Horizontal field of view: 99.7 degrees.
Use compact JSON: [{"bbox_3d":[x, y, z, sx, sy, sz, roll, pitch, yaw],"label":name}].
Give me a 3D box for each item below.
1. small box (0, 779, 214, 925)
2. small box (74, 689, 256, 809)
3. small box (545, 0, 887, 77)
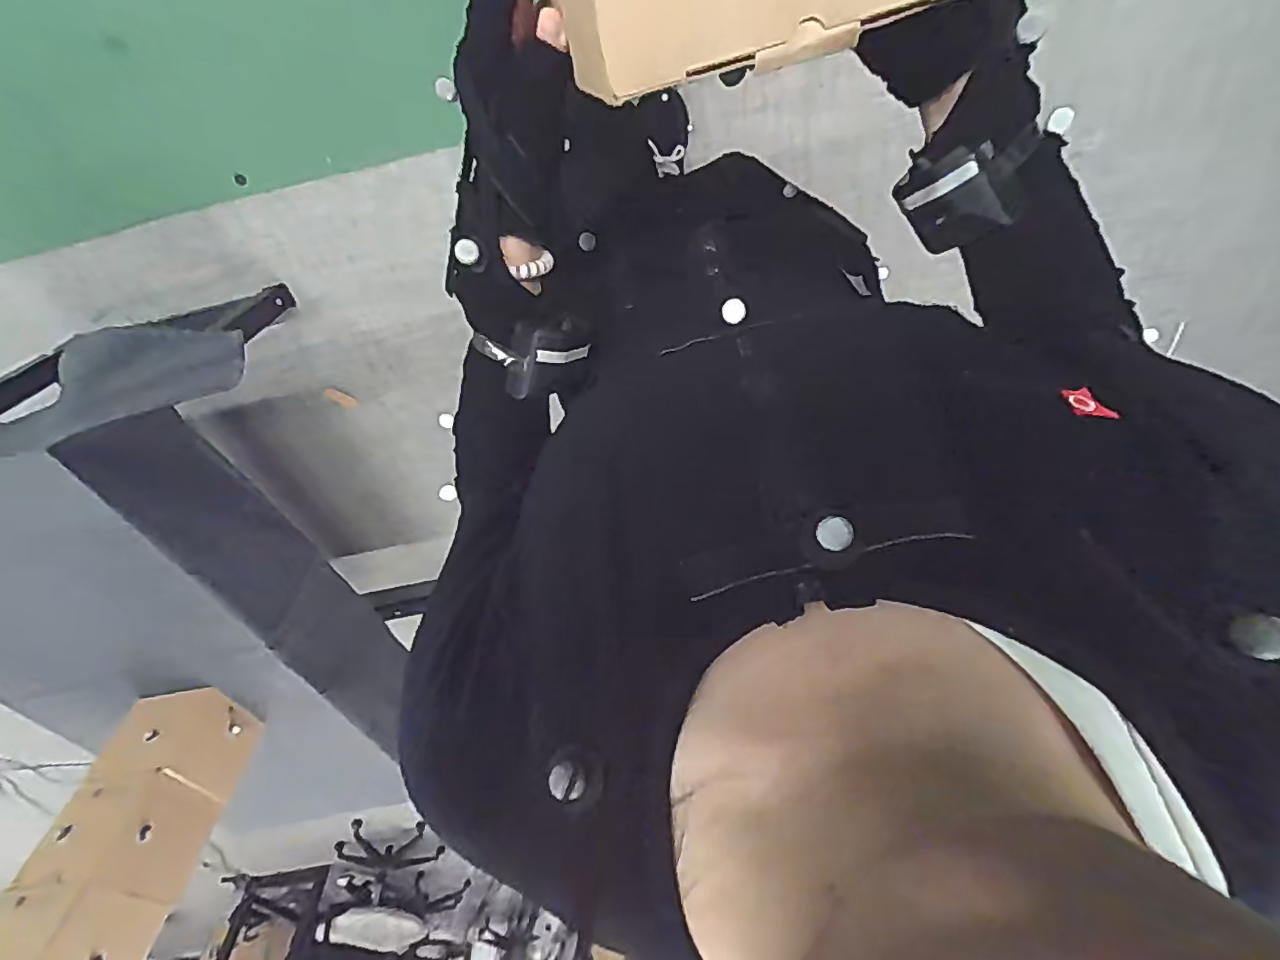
[{"bbox_3d":[-0.921,0.646,0.951,0.168,0.176,0.179,-12,128,6],"label":"small box"},{"bbox_3d":[-0.927,0.543,1.078,0.179,0.176,0.168,-11,128,4],"label":"small box"},{"bbox_3d":[0.027,-0.296,0.220,0.168,0.176,0.179,-18,131,-2],"label":"small box"}]
